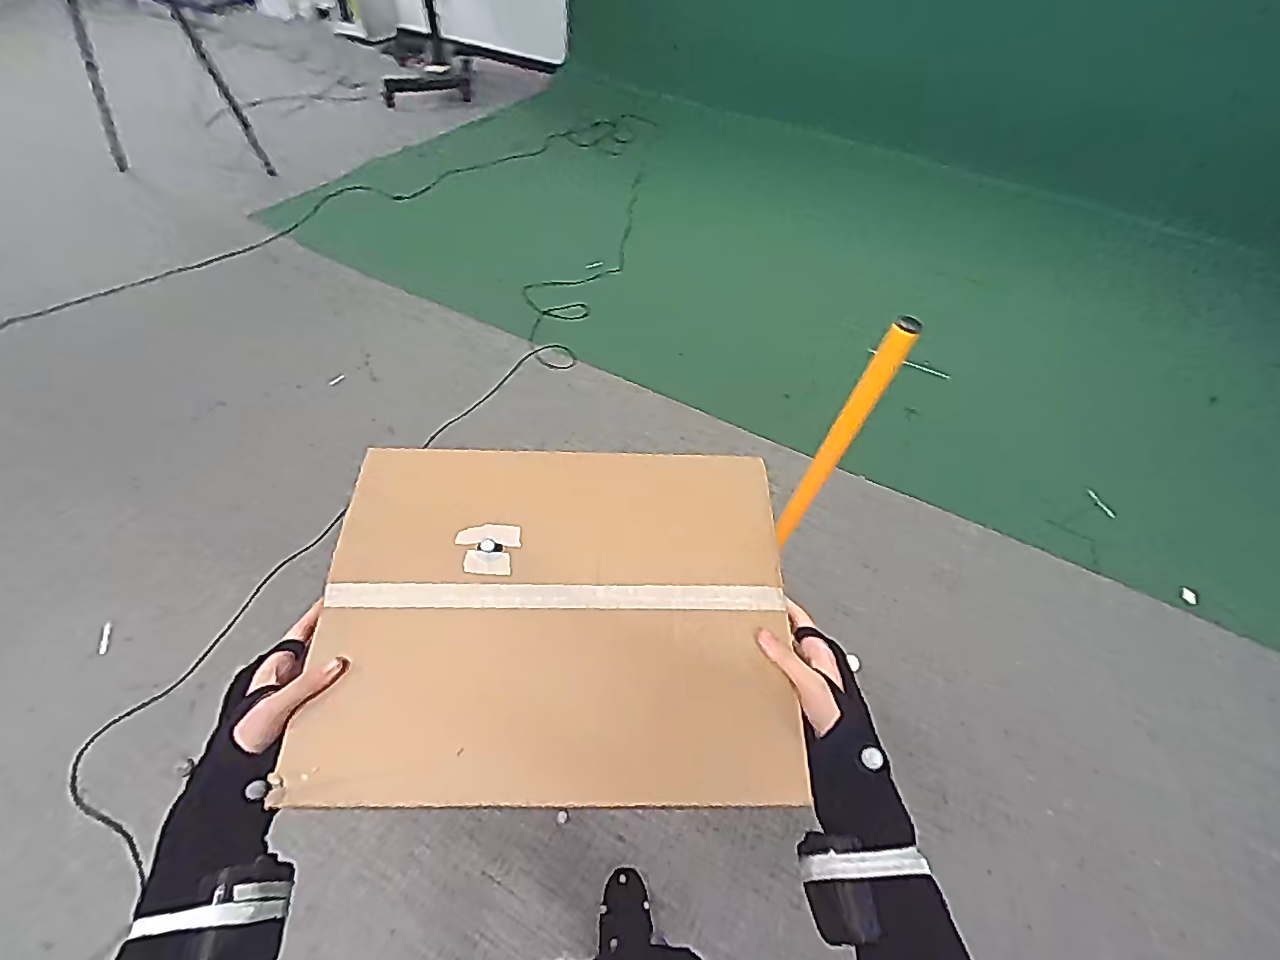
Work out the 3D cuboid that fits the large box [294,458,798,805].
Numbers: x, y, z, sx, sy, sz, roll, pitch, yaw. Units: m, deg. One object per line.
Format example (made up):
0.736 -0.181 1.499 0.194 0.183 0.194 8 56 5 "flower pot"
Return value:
-0.076 0.183 0.624 0.408 0.320 0.320 0 61 -2 "large box"
